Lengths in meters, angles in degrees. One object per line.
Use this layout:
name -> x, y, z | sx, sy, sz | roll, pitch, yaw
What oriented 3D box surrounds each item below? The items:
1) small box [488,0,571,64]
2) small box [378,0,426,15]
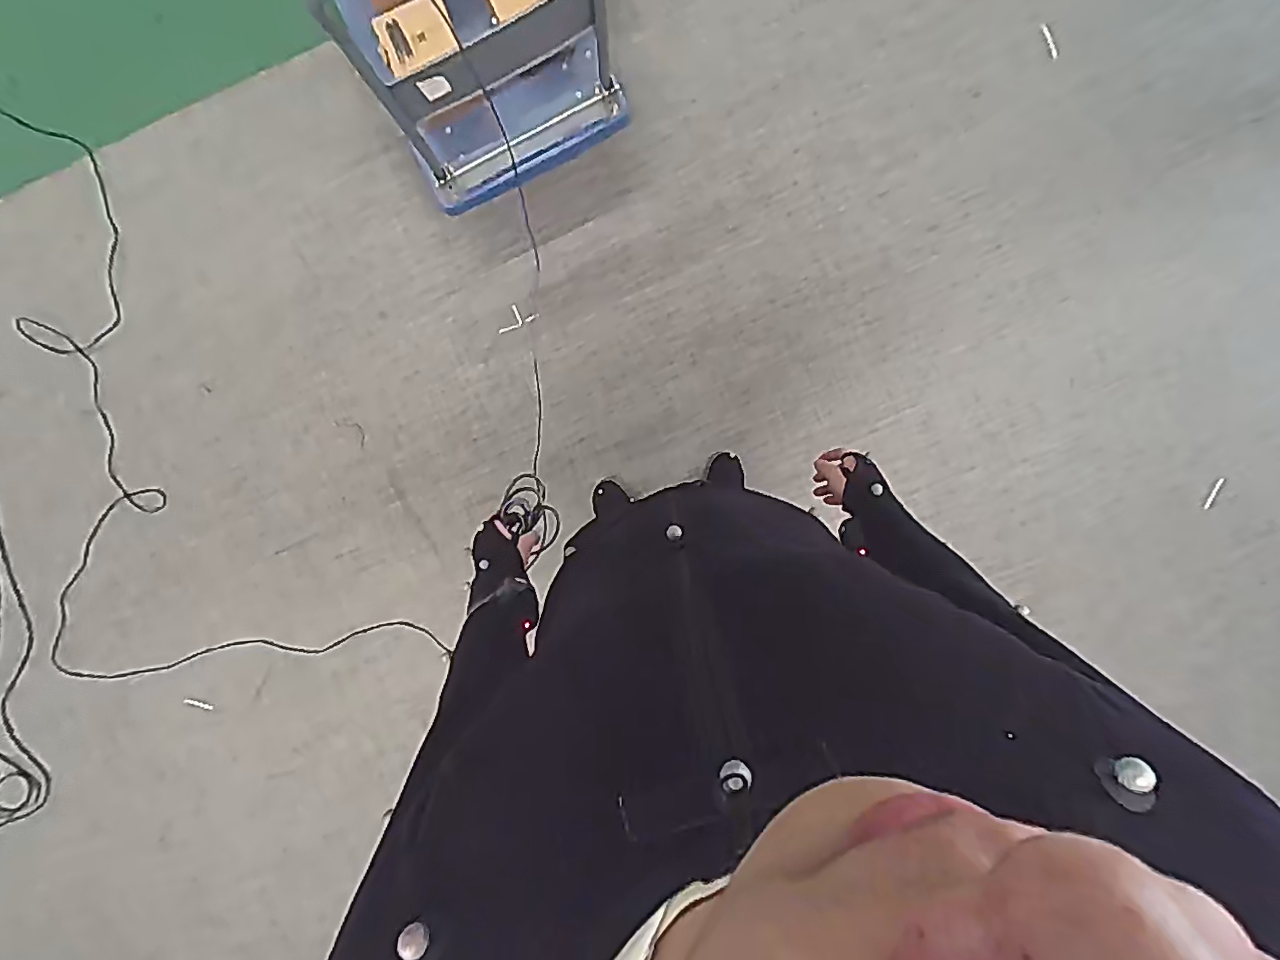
small box -> -0.284, -1.188, 1.327 | 0.168, 0.176, 0.179 | -25, 93, 2
small box -> -0.620, -1.302, 1.326 | 0.168, 0.176, 0.179 | -30, 92, 2
